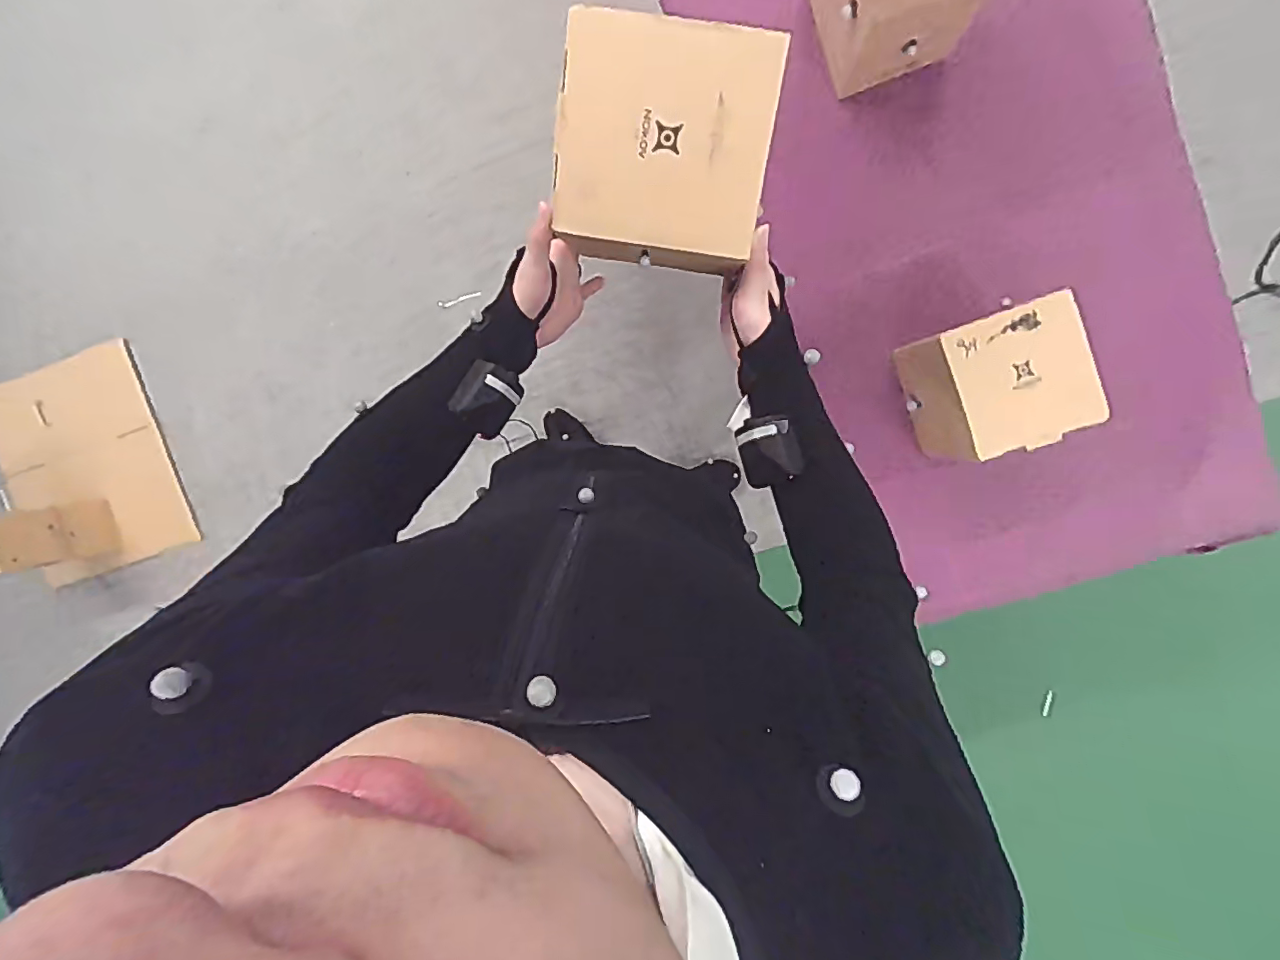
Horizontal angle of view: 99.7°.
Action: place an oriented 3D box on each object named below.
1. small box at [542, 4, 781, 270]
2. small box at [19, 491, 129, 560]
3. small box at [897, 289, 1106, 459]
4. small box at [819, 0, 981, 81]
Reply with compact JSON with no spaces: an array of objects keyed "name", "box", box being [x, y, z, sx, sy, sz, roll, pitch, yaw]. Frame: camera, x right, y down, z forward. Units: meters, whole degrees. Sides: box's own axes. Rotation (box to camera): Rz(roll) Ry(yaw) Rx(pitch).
[{"name":"small box","box":[0.019,-0.305,0.519,0.179,0.176,0.168,10,107,2]},{"name":"small box","box":[-1.819,0.142,1.749,0.168,0.176,0.179,-12,95,7]},{"name":"small box","box":[0.494,-0.143,0.765,0.168,0.176,0.179,-19,95,7]},{"name":"small box","box":[0.348,-0.676,0.716,0.168,0.176,0.179,-17,95,7]}]
